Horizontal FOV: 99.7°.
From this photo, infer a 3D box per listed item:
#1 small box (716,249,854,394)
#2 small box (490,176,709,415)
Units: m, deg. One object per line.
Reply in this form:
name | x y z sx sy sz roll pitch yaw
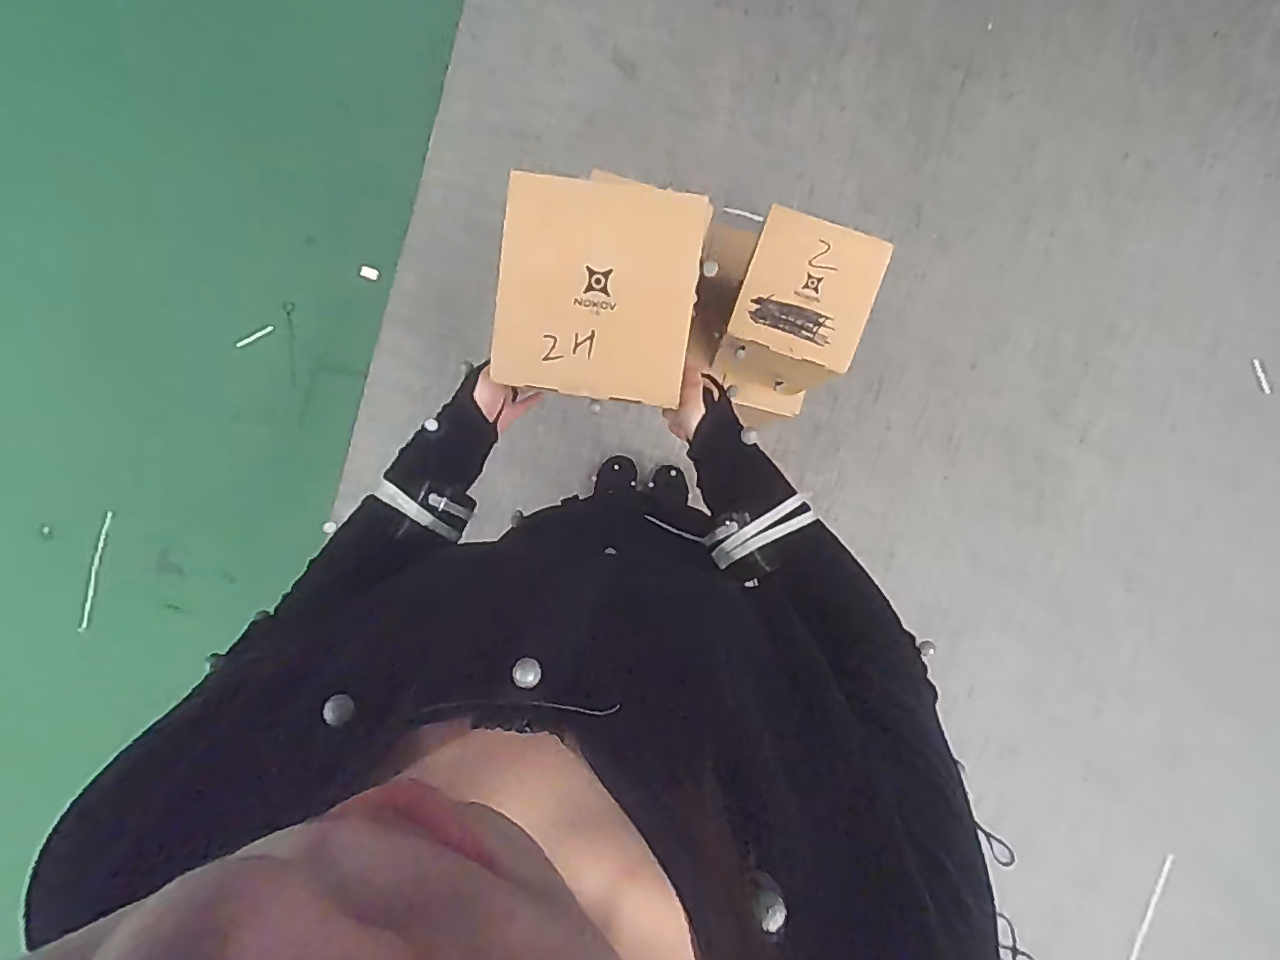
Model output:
small box | 0.236 -0.259 0.930 0.168 0.176 0.179 20 94 2
small box | -0.033 -0.164 0.531 0.168 0.176 0.179 9 99 2
